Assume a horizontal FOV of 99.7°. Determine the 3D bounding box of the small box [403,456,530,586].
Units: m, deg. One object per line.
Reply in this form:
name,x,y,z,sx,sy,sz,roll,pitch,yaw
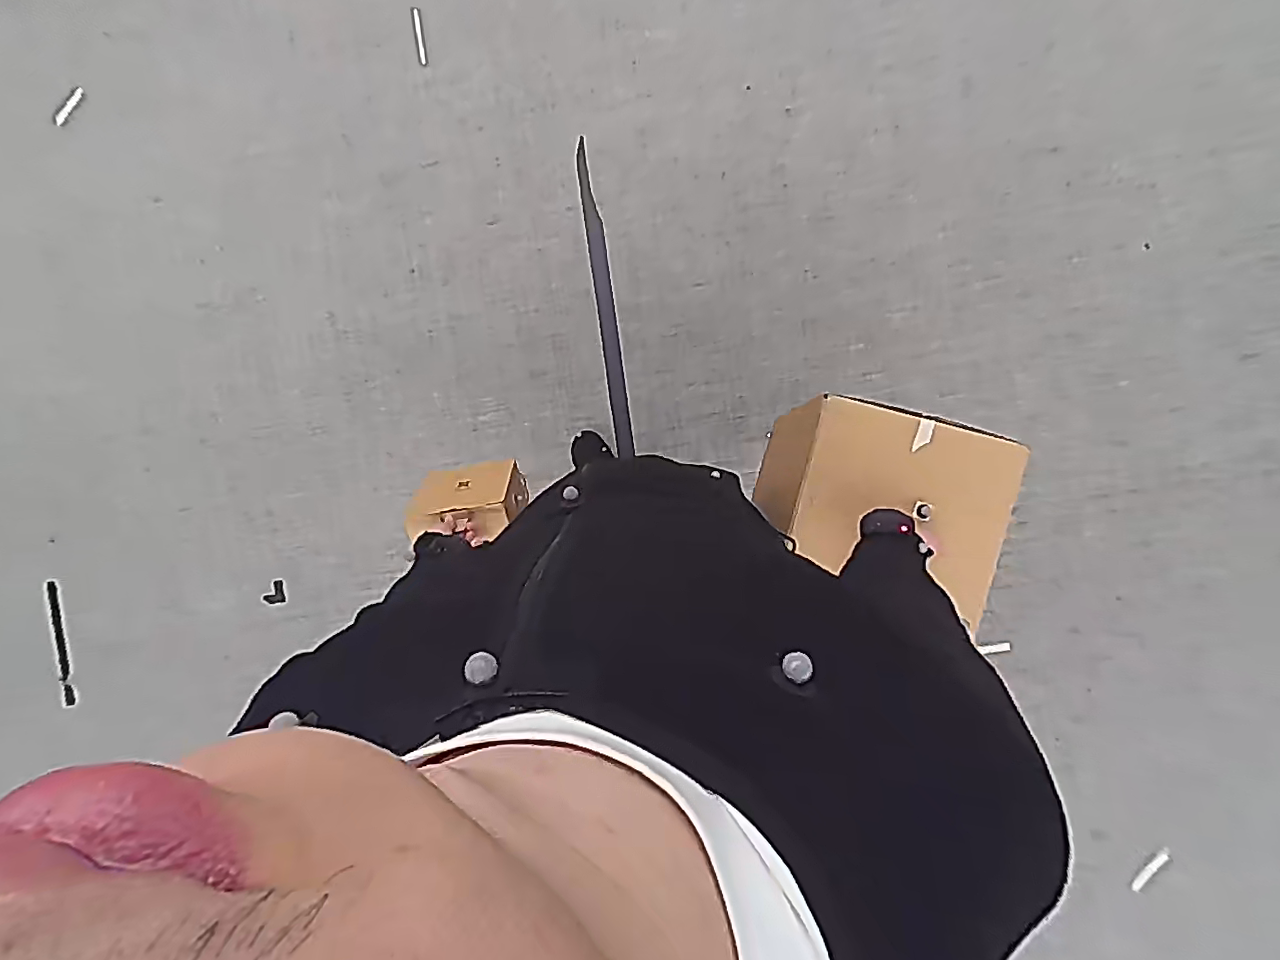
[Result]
small box,-0.303,0.079,0.989,0.168,0.179,0.176,-8,119,-2
